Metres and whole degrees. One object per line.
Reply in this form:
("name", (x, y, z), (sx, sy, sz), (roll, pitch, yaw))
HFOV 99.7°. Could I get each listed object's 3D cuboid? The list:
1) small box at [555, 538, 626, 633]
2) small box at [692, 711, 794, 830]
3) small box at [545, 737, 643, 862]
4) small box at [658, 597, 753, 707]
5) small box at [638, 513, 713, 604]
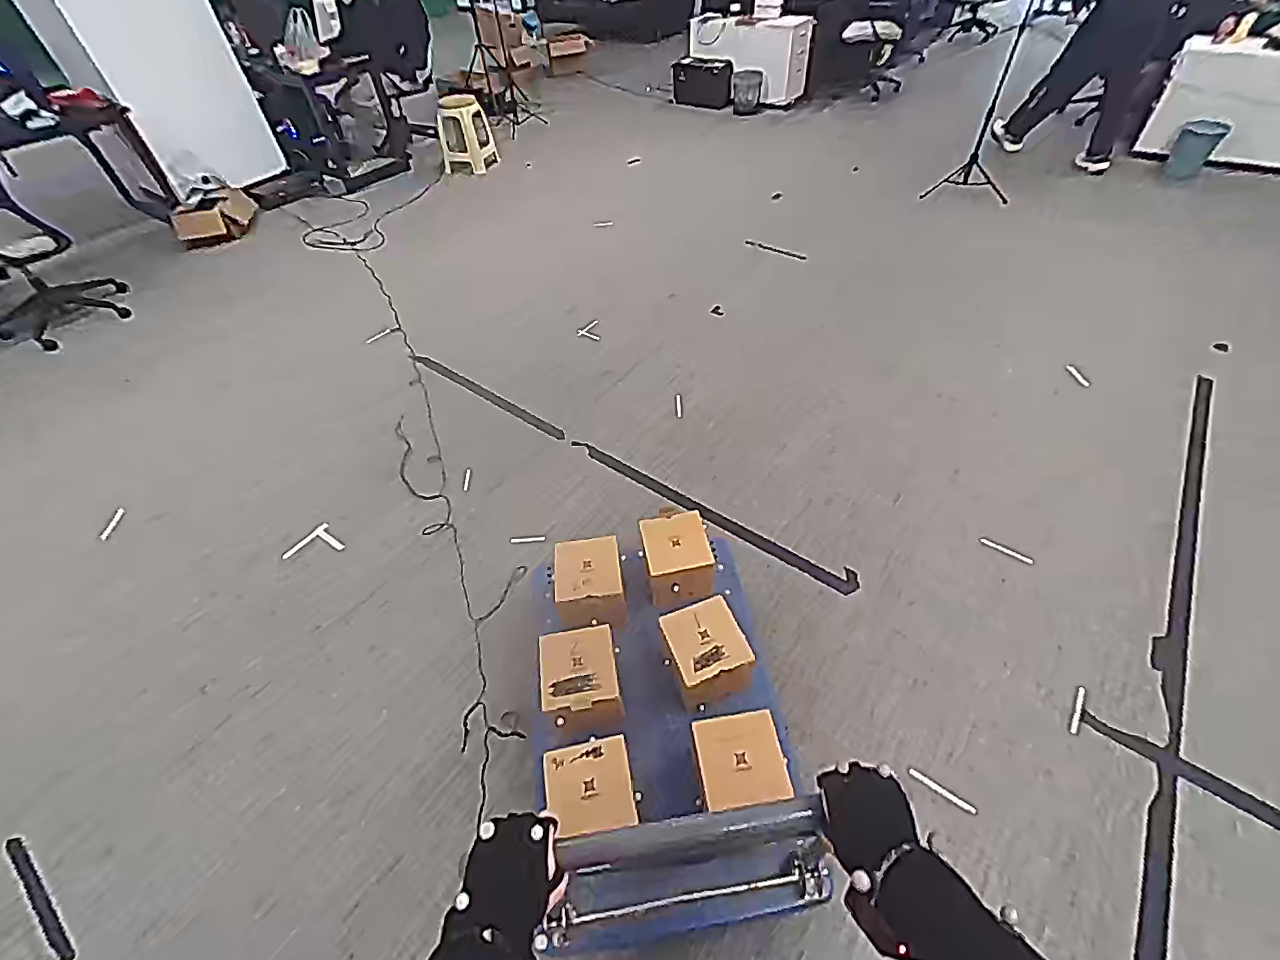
("small box", (-0.129, 0.279, 1.423), (0.168, 0.176, 0.179), (-7, 49, -2))
("small box", (0.203, 0.603, 1.112), (0.168, 0.176, 0.179), (-8, 48, -3))
("small box", (-0.091, 0.649, 1.091), (0.168, 0.176, 0.179), (-11, 49, -6))
("small box", (0.152, 0.415, 1.282), (0.168, 0.176, 0.179), (-17, 49, -11))
("small box", (0.095, 0.218, 1.462), (0.168, 0.176, 0.179), (-11, 48, -5))
